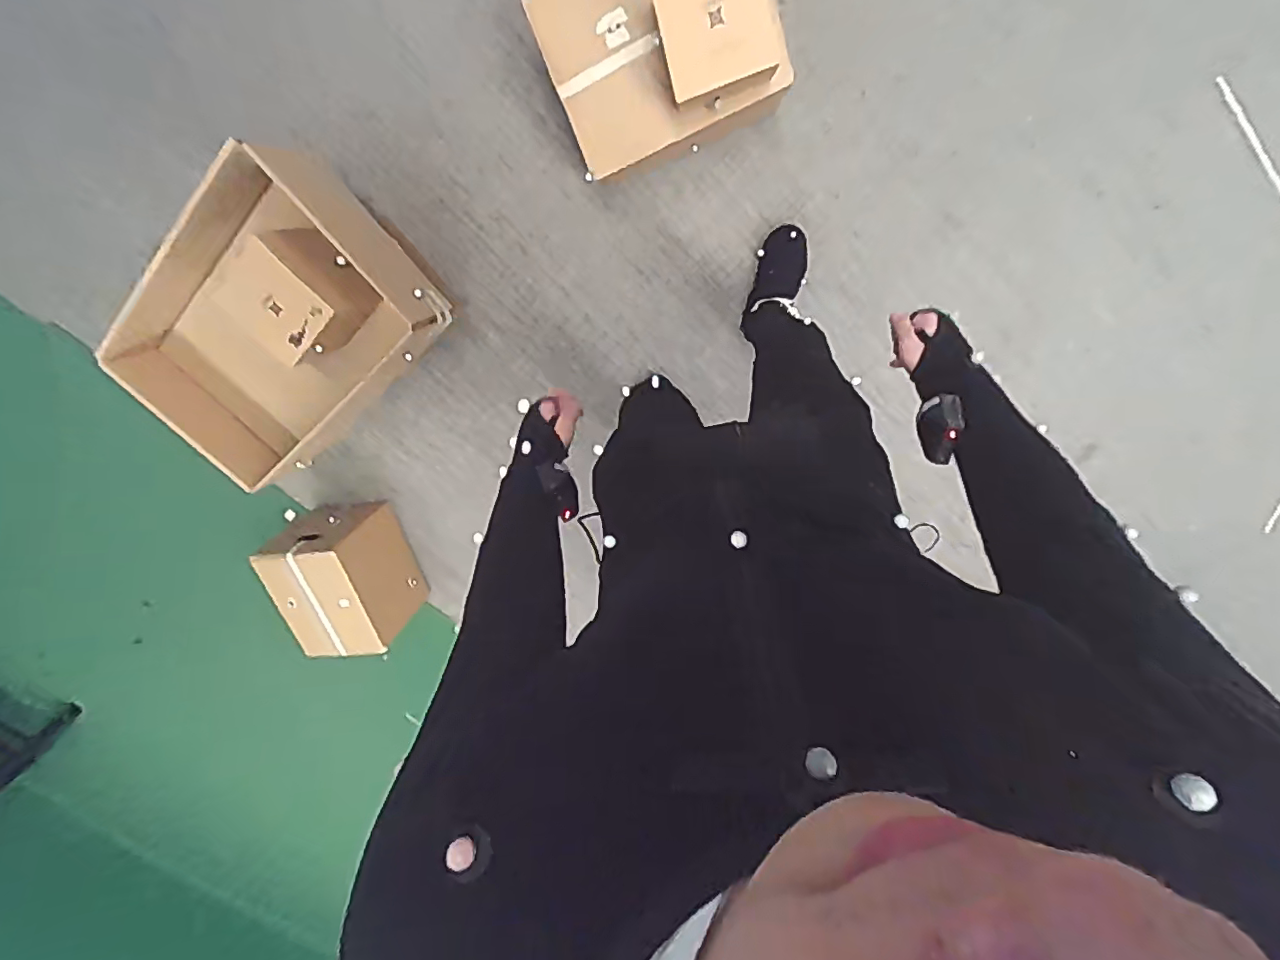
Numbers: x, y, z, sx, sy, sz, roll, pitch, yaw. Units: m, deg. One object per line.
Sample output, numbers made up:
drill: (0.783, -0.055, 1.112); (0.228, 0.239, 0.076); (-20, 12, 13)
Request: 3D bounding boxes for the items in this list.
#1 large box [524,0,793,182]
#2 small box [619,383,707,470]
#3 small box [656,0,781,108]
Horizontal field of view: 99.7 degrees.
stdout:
large box: (0.053, -0.843, 1.076); (0.408, 0.320, 0.320); (-17, 114, 17)
small box: (0.061, -0.148, 1.500); (0.179, 0.176, 0.168); (35, 96, 17)
small box: (0.119, -0.719, 0.853); (0.168, 0.176, 0.179); (-11, 118, 14)
